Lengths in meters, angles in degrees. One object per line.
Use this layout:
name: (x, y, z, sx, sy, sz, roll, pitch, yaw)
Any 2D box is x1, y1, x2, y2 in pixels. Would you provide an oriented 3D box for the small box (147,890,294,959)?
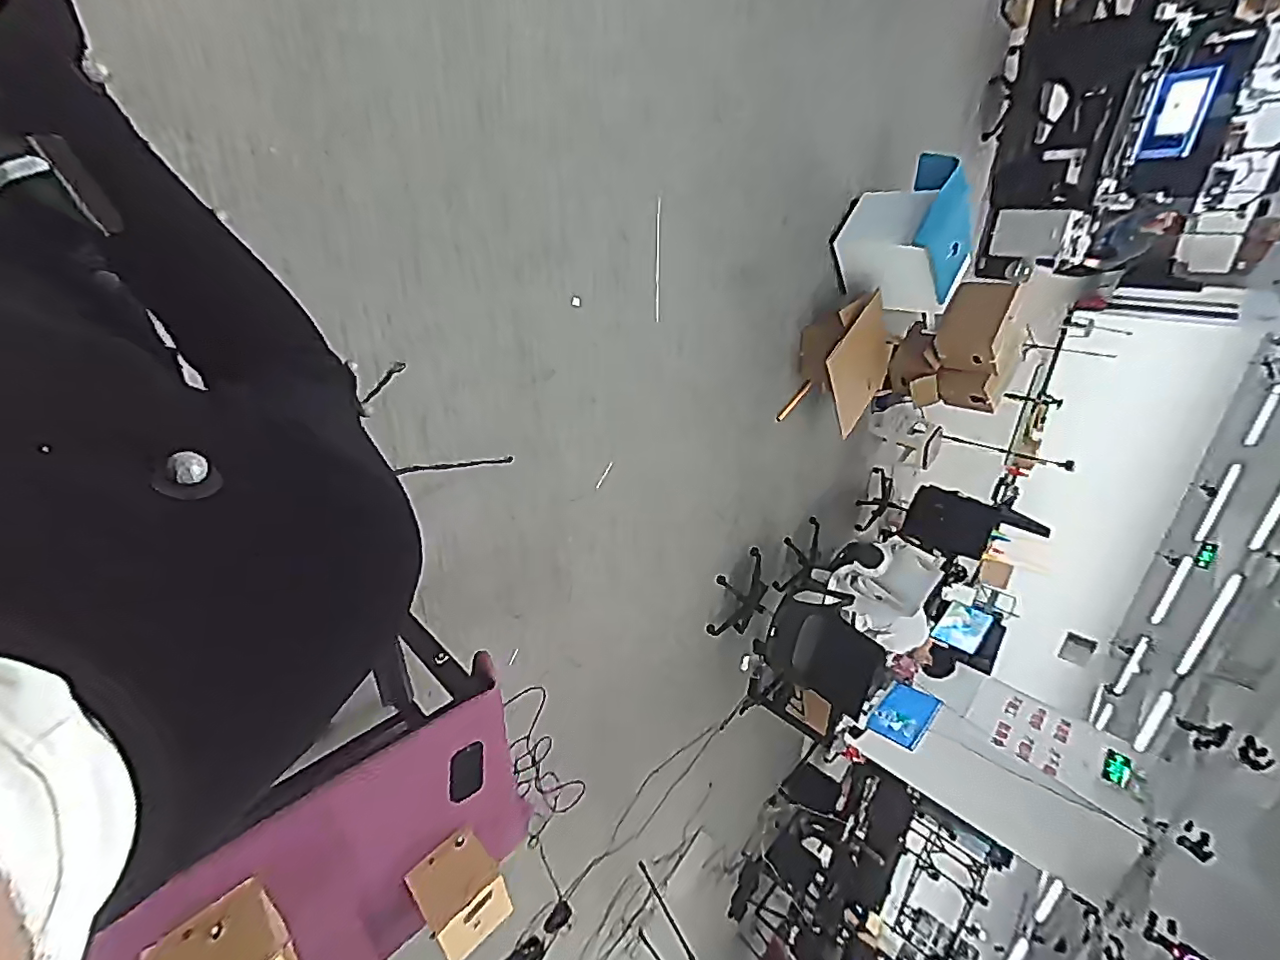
small box: (-0.700, 0.860, 0.920, 0.168, 0.176, 0.179, -26, 126, -38)

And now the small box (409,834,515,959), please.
small box: (-0.426, 0.997, 1.292, 0.168, 0.176, 0.179, -28, 128, -37)
